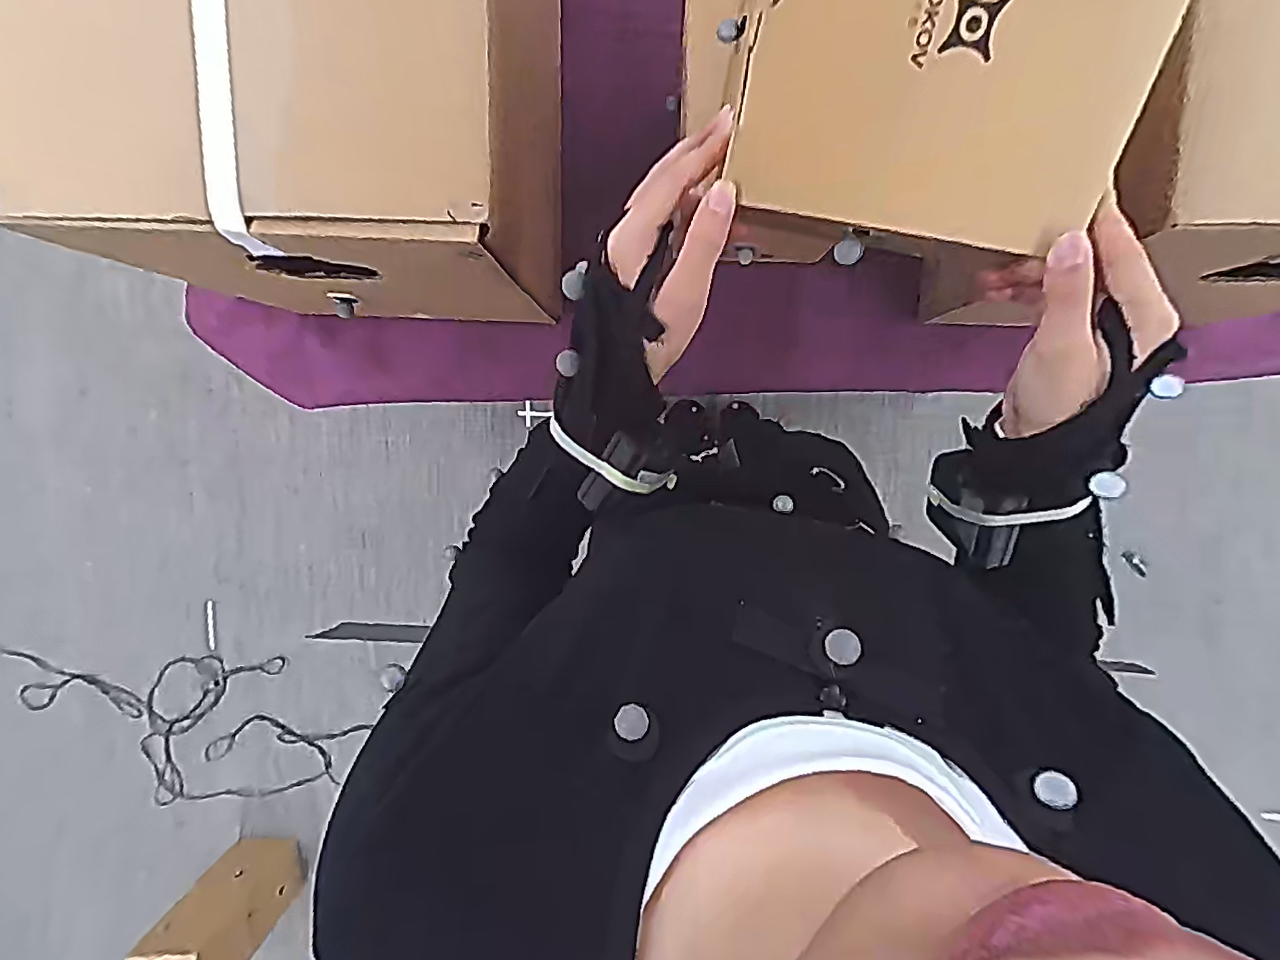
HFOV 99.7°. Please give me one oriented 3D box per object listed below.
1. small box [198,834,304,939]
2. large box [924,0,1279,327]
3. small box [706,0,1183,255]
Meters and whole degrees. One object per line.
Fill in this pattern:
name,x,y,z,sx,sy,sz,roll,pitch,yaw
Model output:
small box,-1.054,1.108,1.483,0.179,0.176,0.168,0,97,3
large box,0.461,-0.356,0.438,0.320,0.320,0.408,1,96,2
small box,0.140,-0.230,0.300,0.179,0.176,0.168,10,114,0
